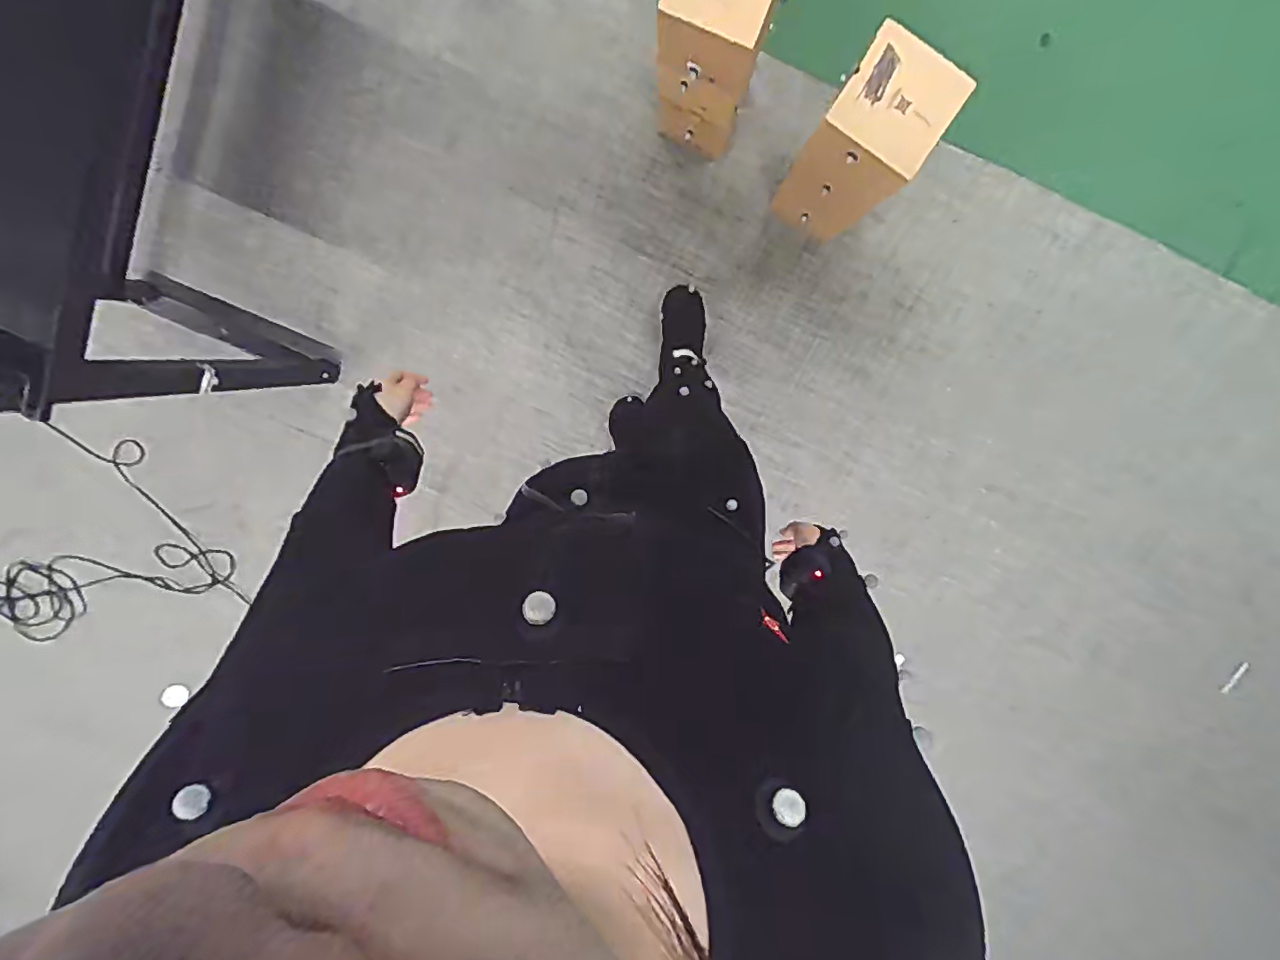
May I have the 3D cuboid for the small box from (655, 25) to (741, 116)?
[{"bbox_3d":[0.139,-0.848,1.040,0.168,0.176,0.179,24,102,-2],"label":"small box"}]

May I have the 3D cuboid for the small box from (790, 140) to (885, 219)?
[{"bbox_3d":[0.423,-0.650,1.069,0.179,0.176,0.168,35,103,-5],"label":"small box"}]

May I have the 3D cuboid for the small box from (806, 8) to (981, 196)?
[{"bbox_3d":[0.409,-0.615,0.910,0.179,0.176,0.168,32,103,-5],"label":"small box"}]

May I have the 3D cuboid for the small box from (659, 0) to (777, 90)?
[{"bbox_3d":[0.137,-0.795,0.885,0.168,0.176,0.179,22,103,-1],"label":"small box"}]
